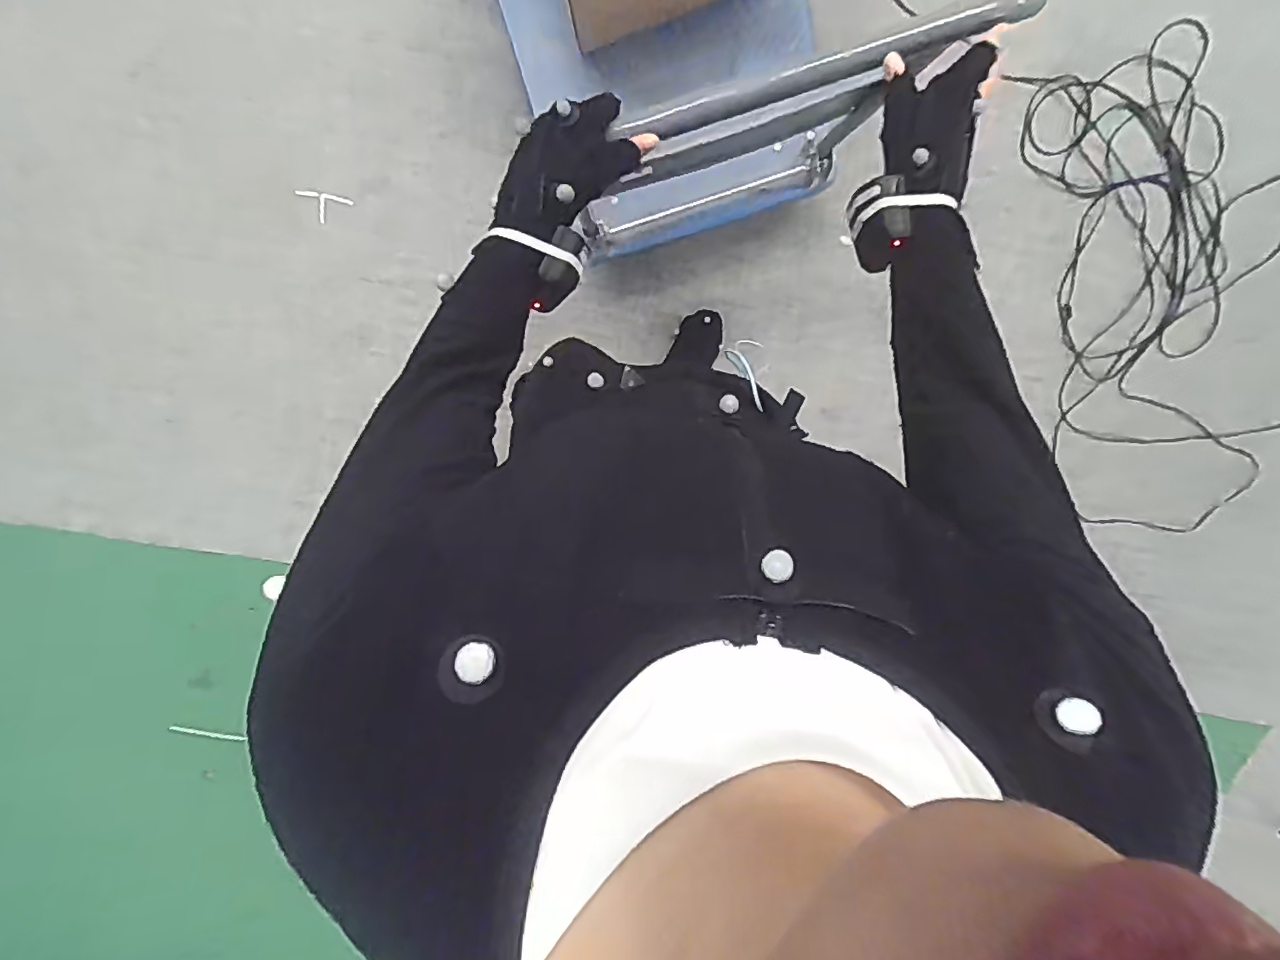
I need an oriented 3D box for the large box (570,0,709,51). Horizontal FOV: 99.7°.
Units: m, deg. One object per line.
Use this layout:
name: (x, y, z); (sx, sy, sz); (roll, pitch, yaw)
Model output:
large box: (0.035, -0.992, 0.861); (0.408, 0.320, 0.320); (-19, 107, 6)
